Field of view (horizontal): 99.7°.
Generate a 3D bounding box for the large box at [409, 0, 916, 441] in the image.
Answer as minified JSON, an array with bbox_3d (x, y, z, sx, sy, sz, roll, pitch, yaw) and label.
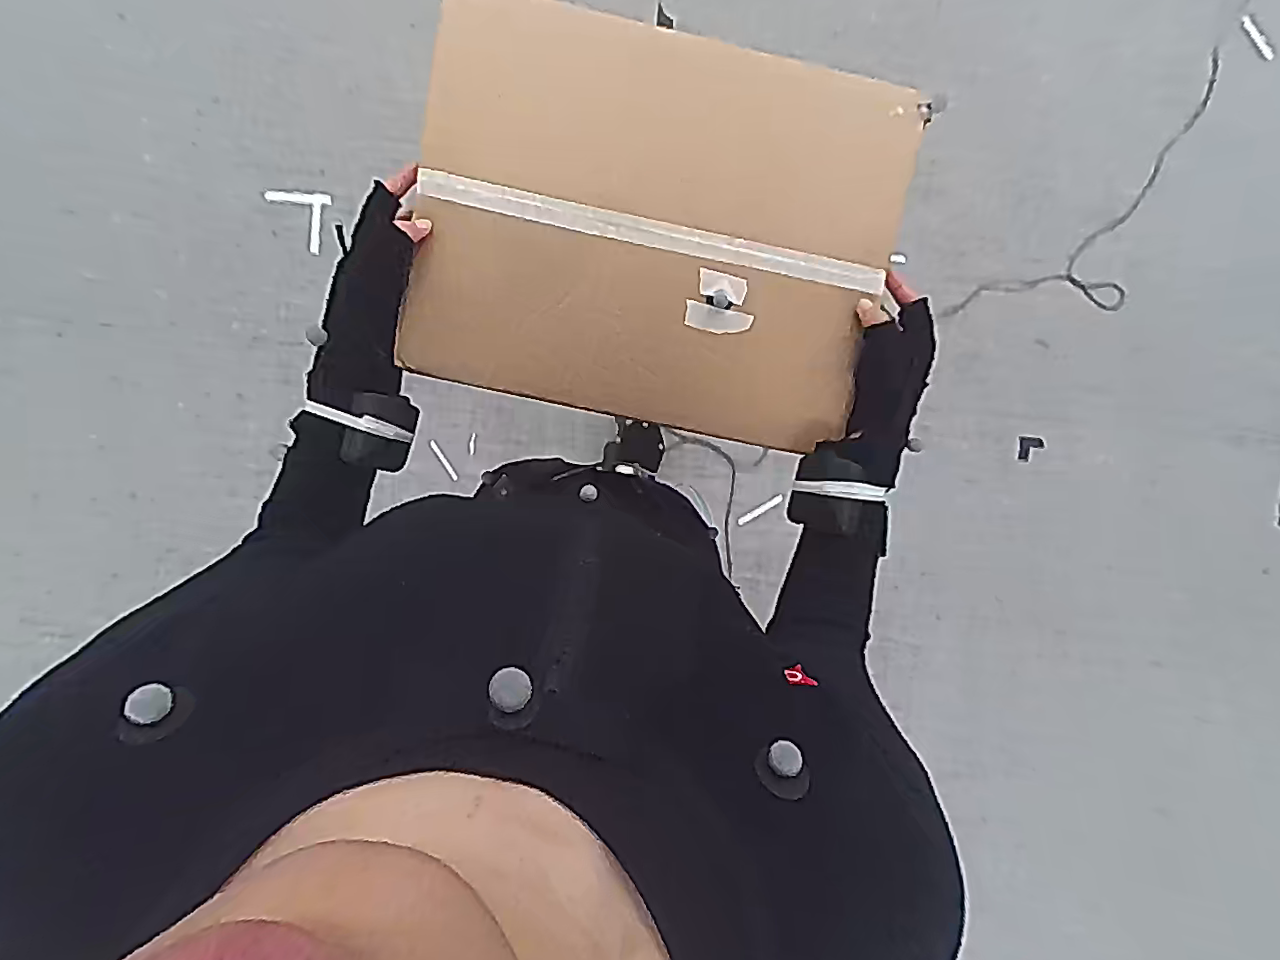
[{"bbox_3d":[0.009,-0.240,0.617,0.408,0.320,0.320,11,99,-3],"label":"large box"}]
